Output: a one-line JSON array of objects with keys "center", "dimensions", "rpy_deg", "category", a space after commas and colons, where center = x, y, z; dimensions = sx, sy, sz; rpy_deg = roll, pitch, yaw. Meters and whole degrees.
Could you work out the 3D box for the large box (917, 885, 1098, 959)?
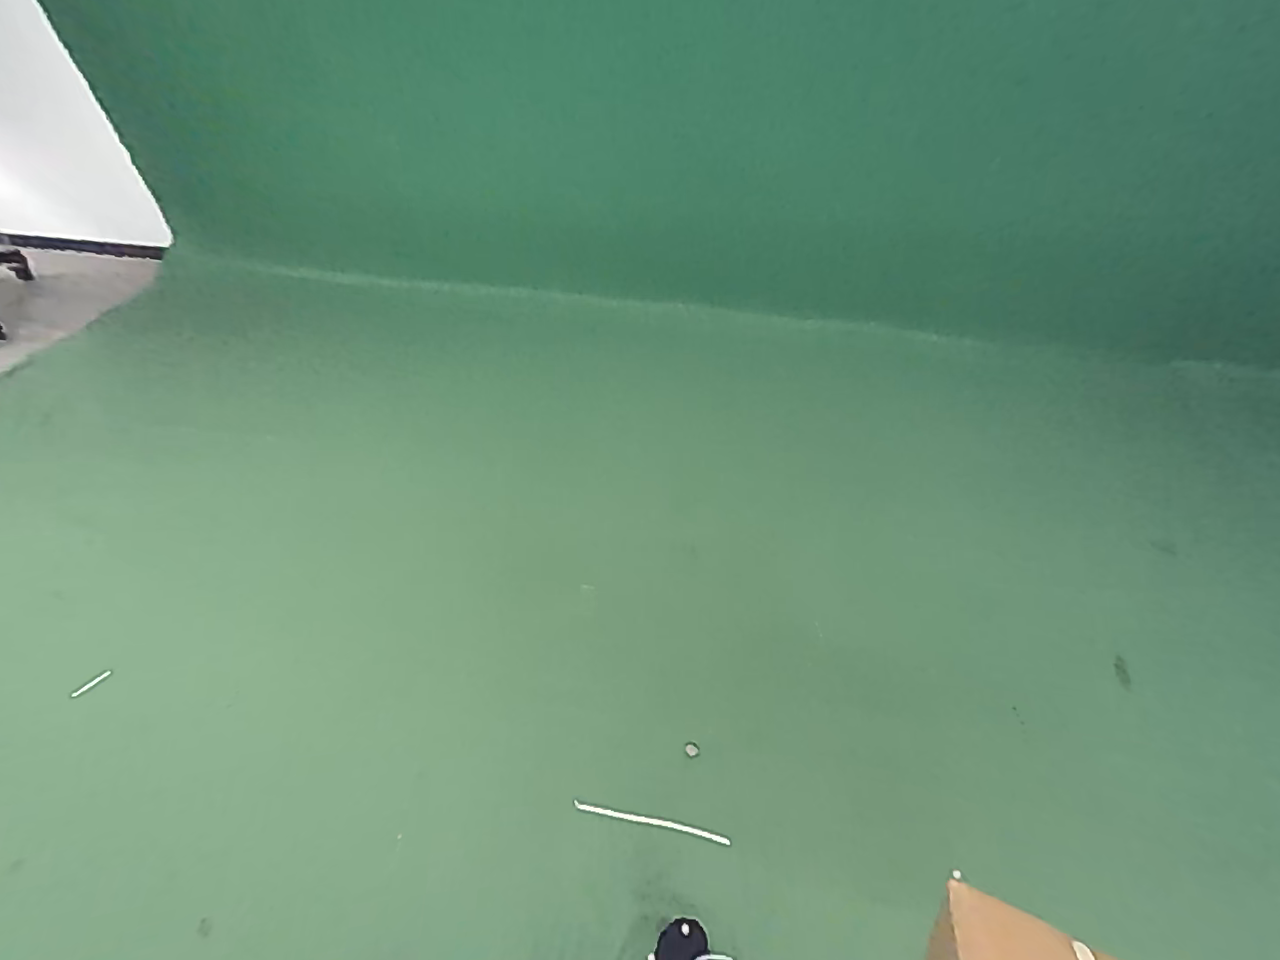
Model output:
[{"center": [0.452, 0.762, 0.555], "dimensions": [0.320, 0.320, 0.408], "rpy_deg": [18, 5, 24], "category": "large box"}]
